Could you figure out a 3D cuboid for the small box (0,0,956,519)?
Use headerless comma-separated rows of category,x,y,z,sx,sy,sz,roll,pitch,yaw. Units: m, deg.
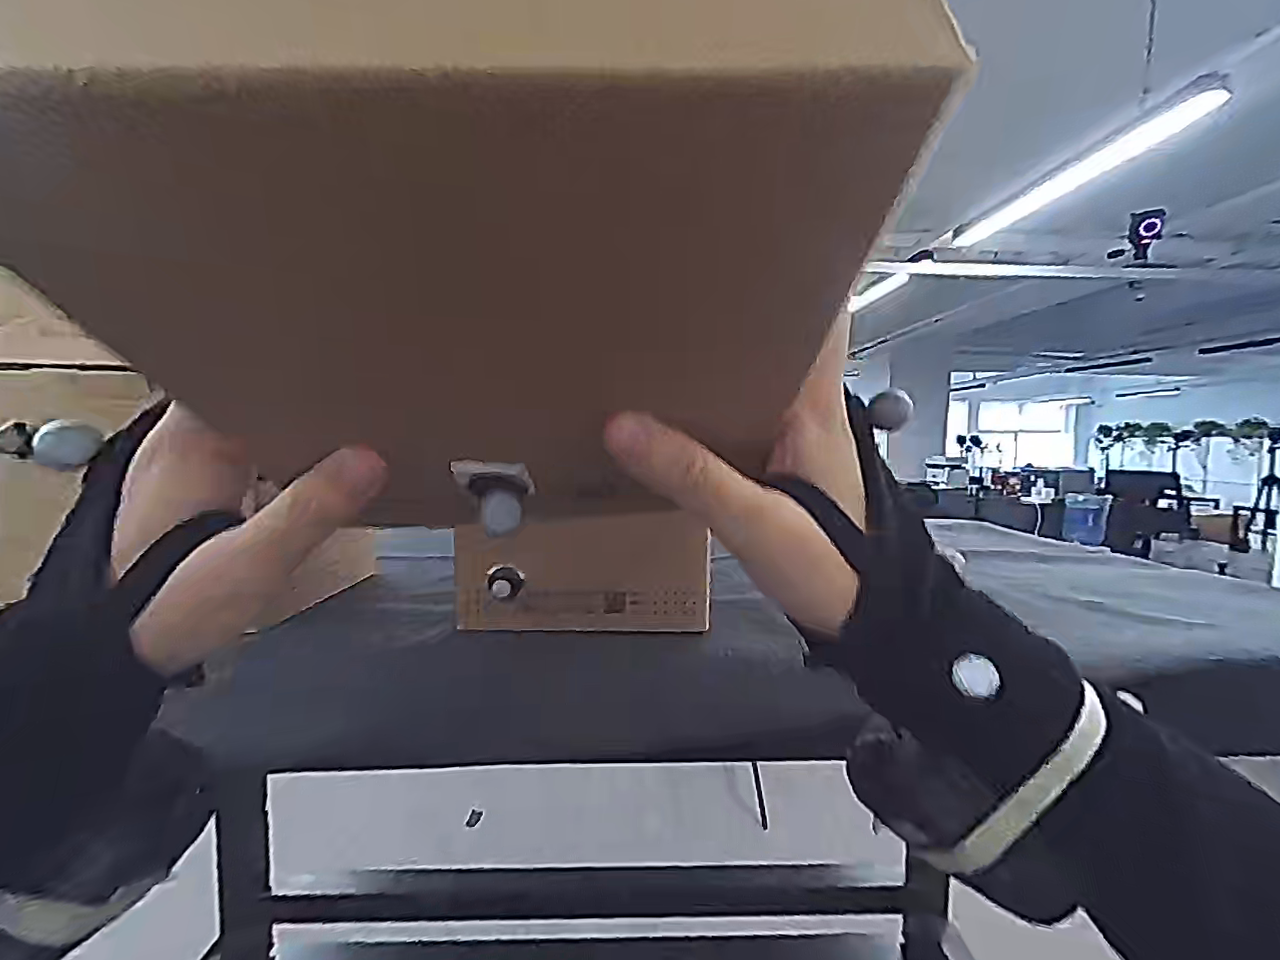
small box,-0.039,-0.102,0.192,0.168,0.179,0.176,-5,-26,-4

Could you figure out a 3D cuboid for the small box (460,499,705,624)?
small box,-0.039,0.011,0.431,0.168,0.176,0.179,1,1,-2

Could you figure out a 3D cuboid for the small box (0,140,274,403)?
small box,-0.324,-0.152,0.409,0.168,0.176,0.179,0,2,-3
